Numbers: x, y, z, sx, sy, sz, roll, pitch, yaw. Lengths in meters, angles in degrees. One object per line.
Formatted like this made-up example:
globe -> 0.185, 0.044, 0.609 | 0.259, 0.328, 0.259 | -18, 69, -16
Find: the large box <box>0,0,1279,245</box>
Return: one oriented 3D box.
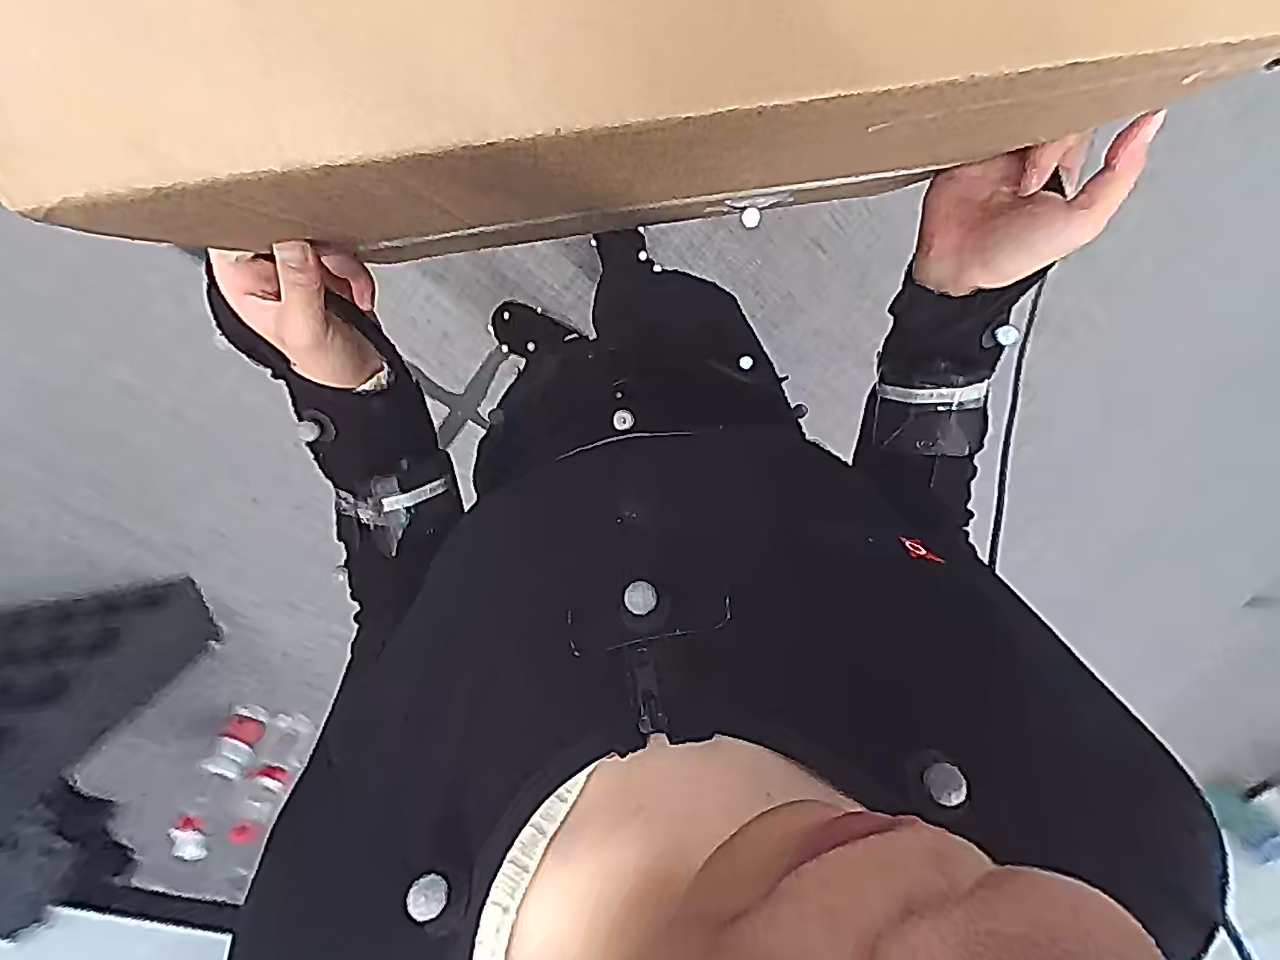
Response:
large box -> -0.006, -0.306, 0.238 | 0.408, 0.320, 0.320 | -9, 111, -2
